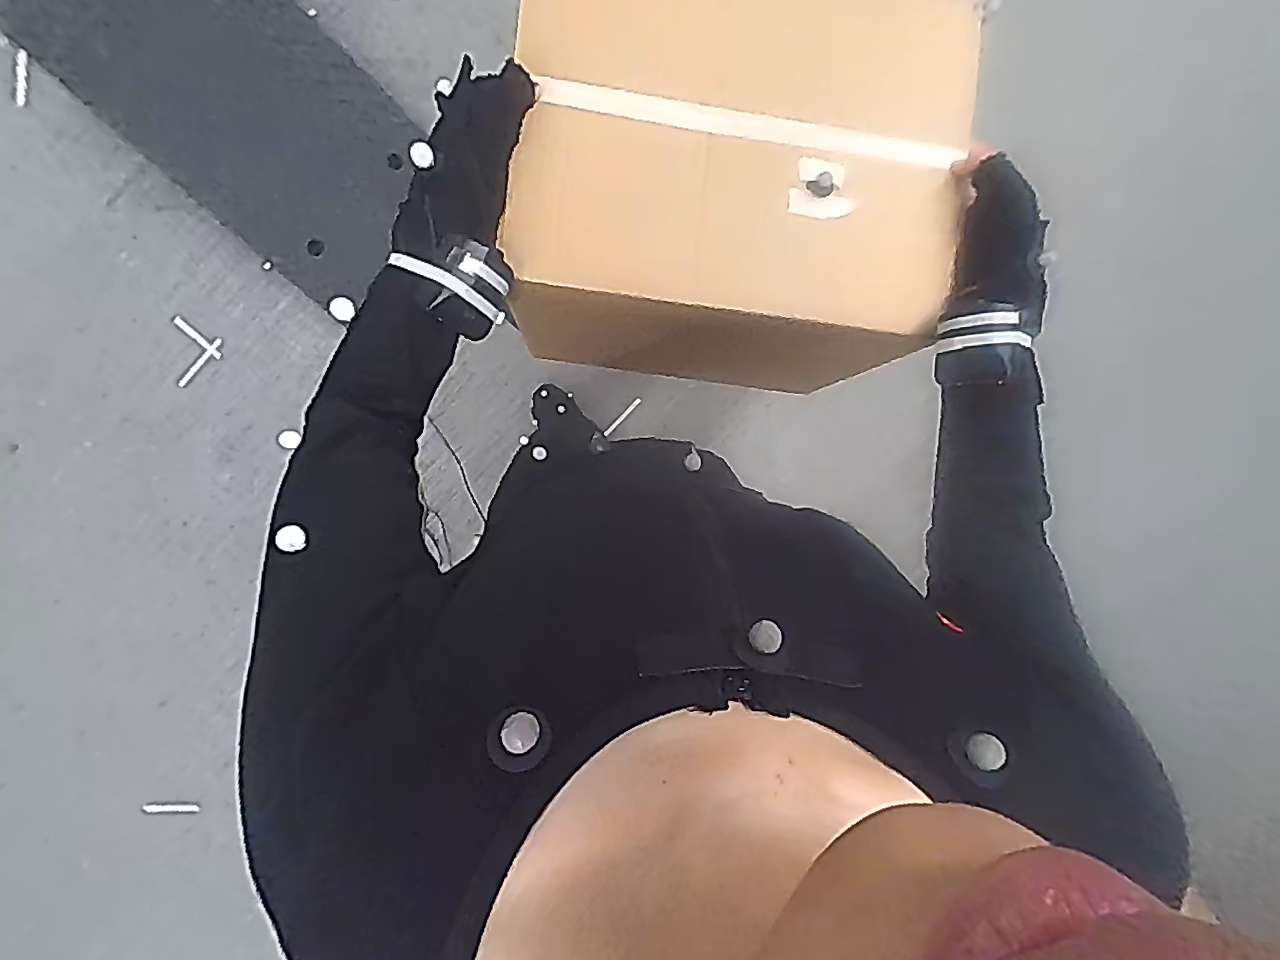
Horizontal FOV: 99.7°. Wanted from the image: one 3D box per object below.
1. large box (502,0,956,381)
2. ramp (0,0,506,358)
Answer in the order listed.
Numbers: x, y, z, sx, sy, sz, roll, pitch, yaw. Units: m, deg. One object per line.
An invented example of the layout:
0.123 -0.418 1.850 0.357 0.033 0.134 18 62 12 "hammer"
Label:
0.072 -0.311 0.630 0.408 0.320 0.320 5 90 -6 "large box"
-0.824 -0.814 1.273 0.991 0.206 0.509 41 90 -7 "ramp"
